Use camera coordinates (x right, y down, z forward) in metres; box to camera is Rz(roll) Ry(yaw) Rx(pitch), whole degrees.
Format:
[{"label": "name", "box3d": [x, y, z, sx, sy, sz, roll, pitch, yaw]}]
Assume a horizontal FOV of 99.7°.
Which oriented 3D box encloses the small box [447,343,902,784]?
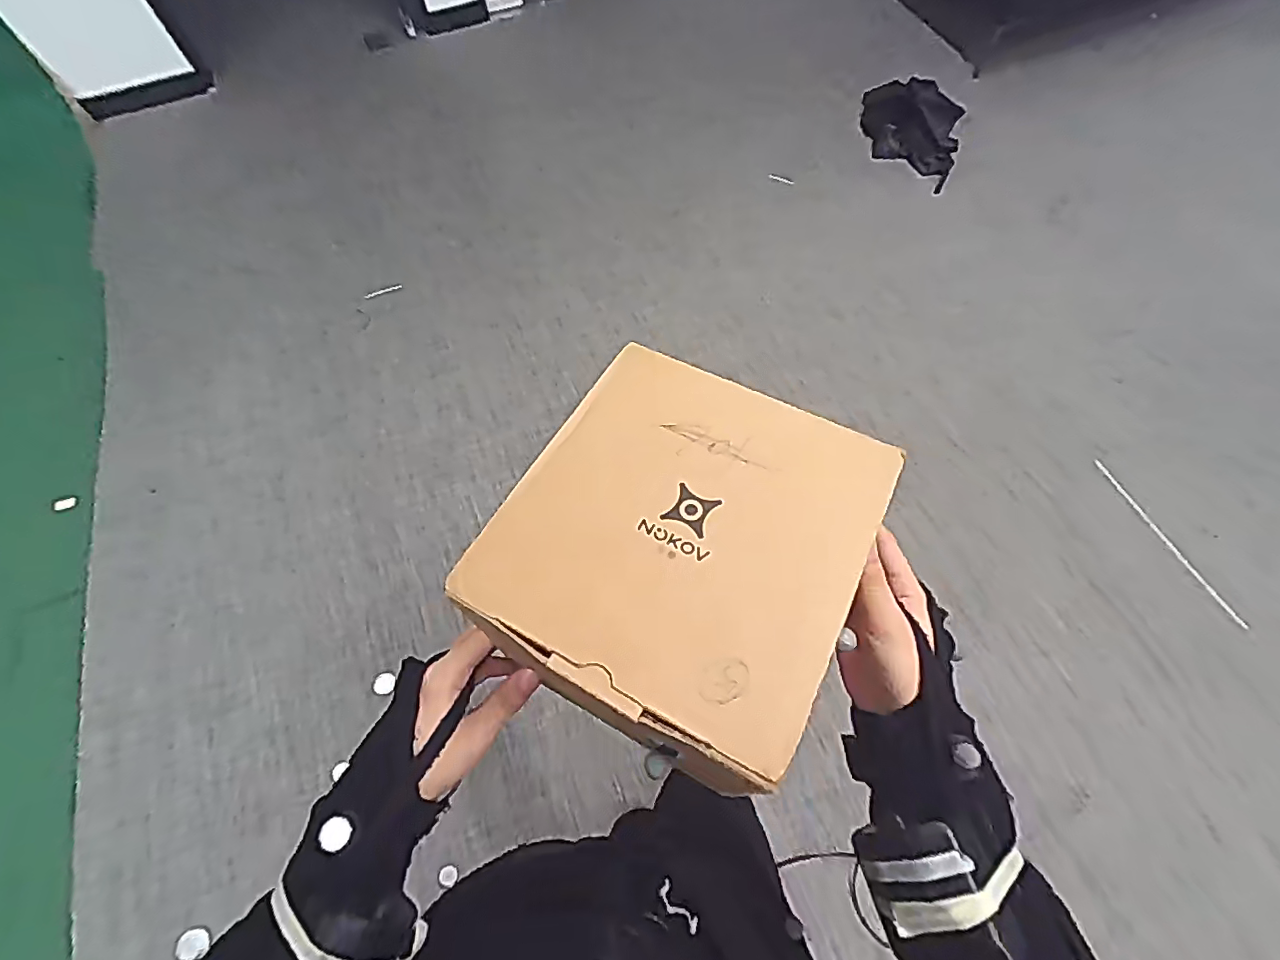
[{"label": "small box", "box3d": [0.024, 0.058, 0.328, 0.168, 0.176, 0.179, 25, 62, 14]}]
